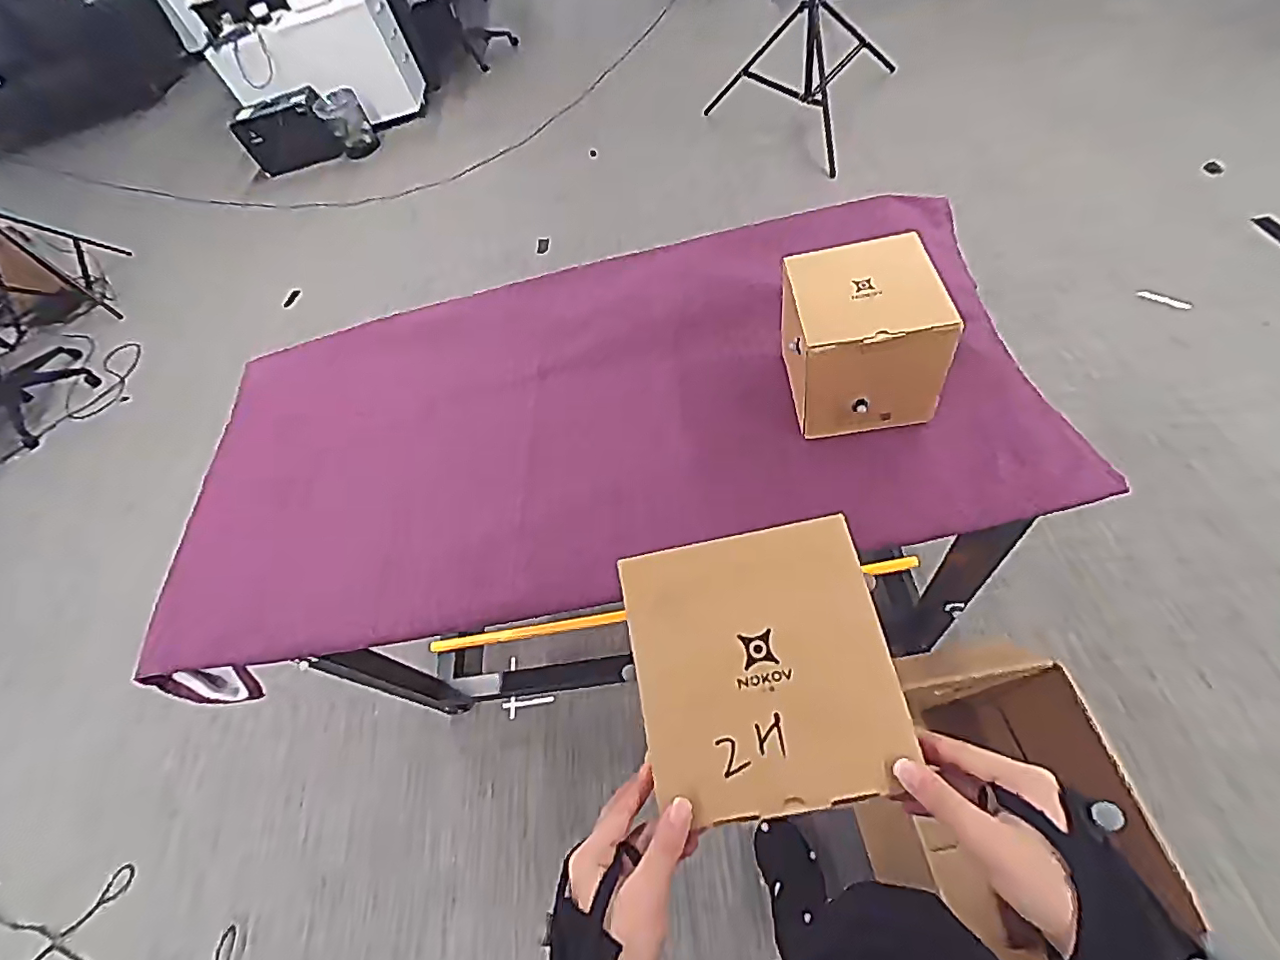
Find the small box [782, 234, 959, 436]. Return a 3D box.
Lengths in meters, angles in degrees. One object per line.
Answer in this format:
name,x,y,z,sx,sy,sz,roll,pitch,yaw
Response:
small box,0.281,-0.183,0.706,0.168,0.176,0.179,-9,55,10

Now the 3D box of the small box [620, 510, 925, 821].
small box,0.088,0.144,0.430,0.168,0.176,0.179,-13,68,5
